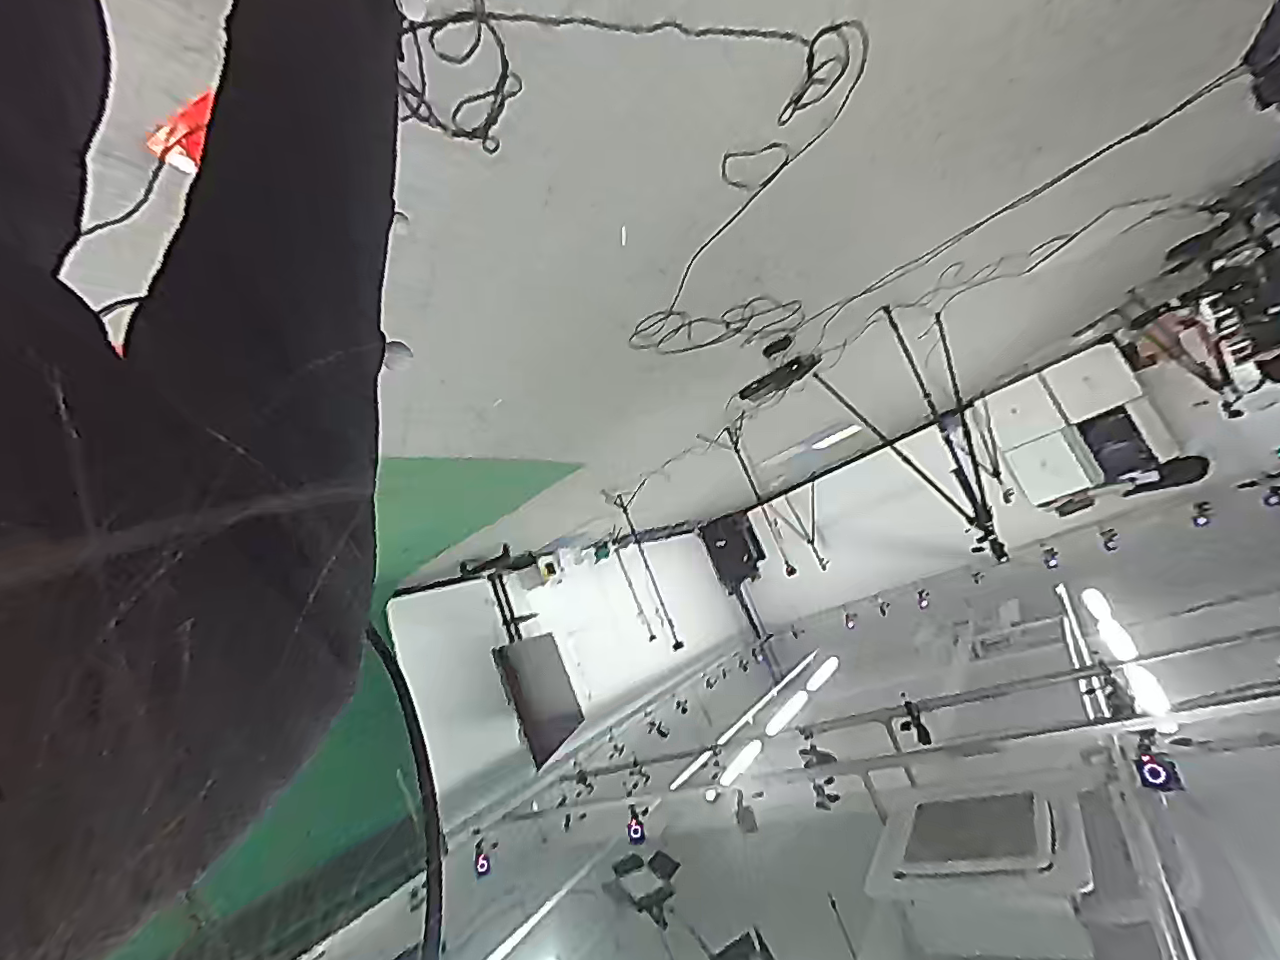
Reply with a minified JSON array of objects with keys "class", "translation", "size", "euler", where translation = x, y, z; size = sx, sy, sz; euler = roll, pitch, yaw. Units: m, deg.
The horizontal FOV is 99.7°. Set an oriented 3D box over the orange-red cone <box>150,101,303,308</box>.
[{"class":"orange-red cone","translation":[-0.765,-0.495,1.056],"size":[0.198,0.360,0.199],"euler":[-24,168,12]}]
